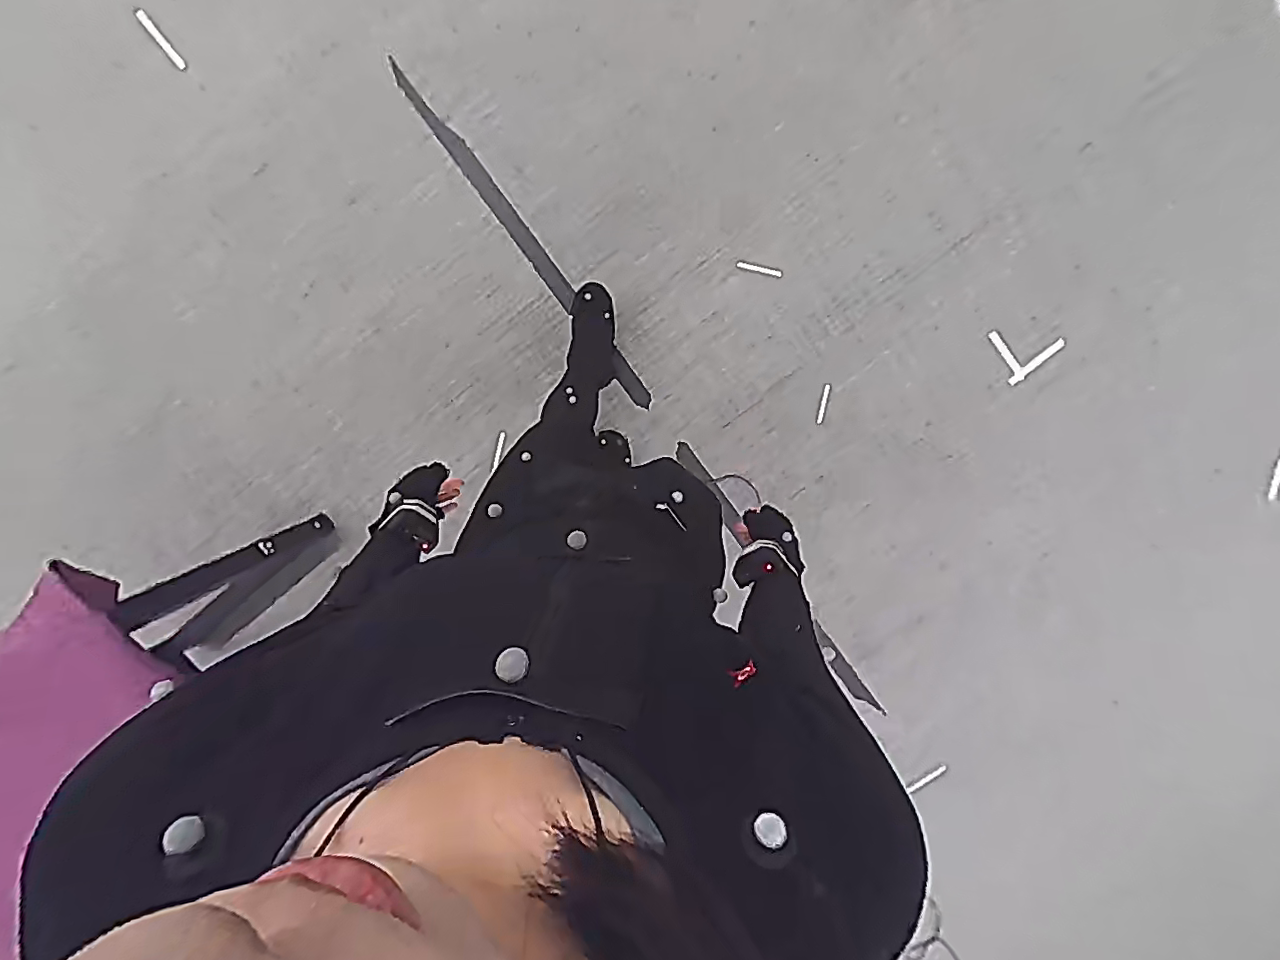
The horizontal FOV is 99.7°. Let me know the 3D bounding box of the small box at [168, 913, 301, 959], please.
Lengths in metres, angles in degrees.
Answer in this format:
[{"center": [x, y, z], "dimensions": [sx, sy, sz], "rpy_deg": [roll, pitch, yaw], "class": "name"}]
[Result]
[{"center": [-0.646, 0.798, 0.801], "dimensions": [0.168, 0.176, 0.179], "rpy_deg": [-38, 97, 6], "class": "small box"}]
